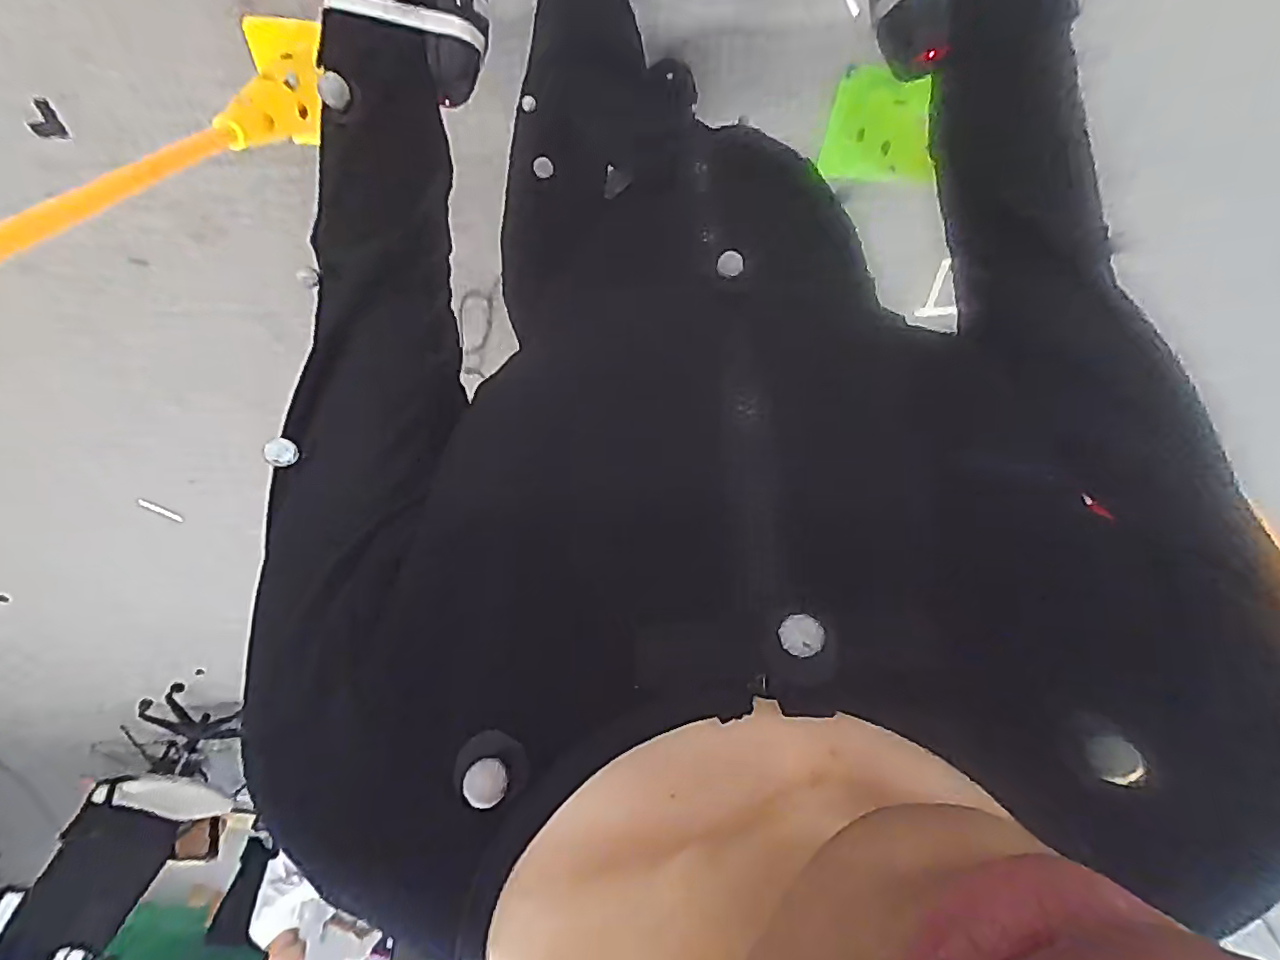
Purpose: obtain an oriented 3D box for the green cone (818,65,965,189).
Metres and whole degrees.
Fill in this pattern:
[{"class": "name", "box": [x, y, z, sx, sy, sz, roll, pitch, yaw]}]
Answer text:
[{"class": "green cone", "box": [0.503, -0.625, 1.020, 0.202, 0.368, 0.200, 0, 135, -5]}]
